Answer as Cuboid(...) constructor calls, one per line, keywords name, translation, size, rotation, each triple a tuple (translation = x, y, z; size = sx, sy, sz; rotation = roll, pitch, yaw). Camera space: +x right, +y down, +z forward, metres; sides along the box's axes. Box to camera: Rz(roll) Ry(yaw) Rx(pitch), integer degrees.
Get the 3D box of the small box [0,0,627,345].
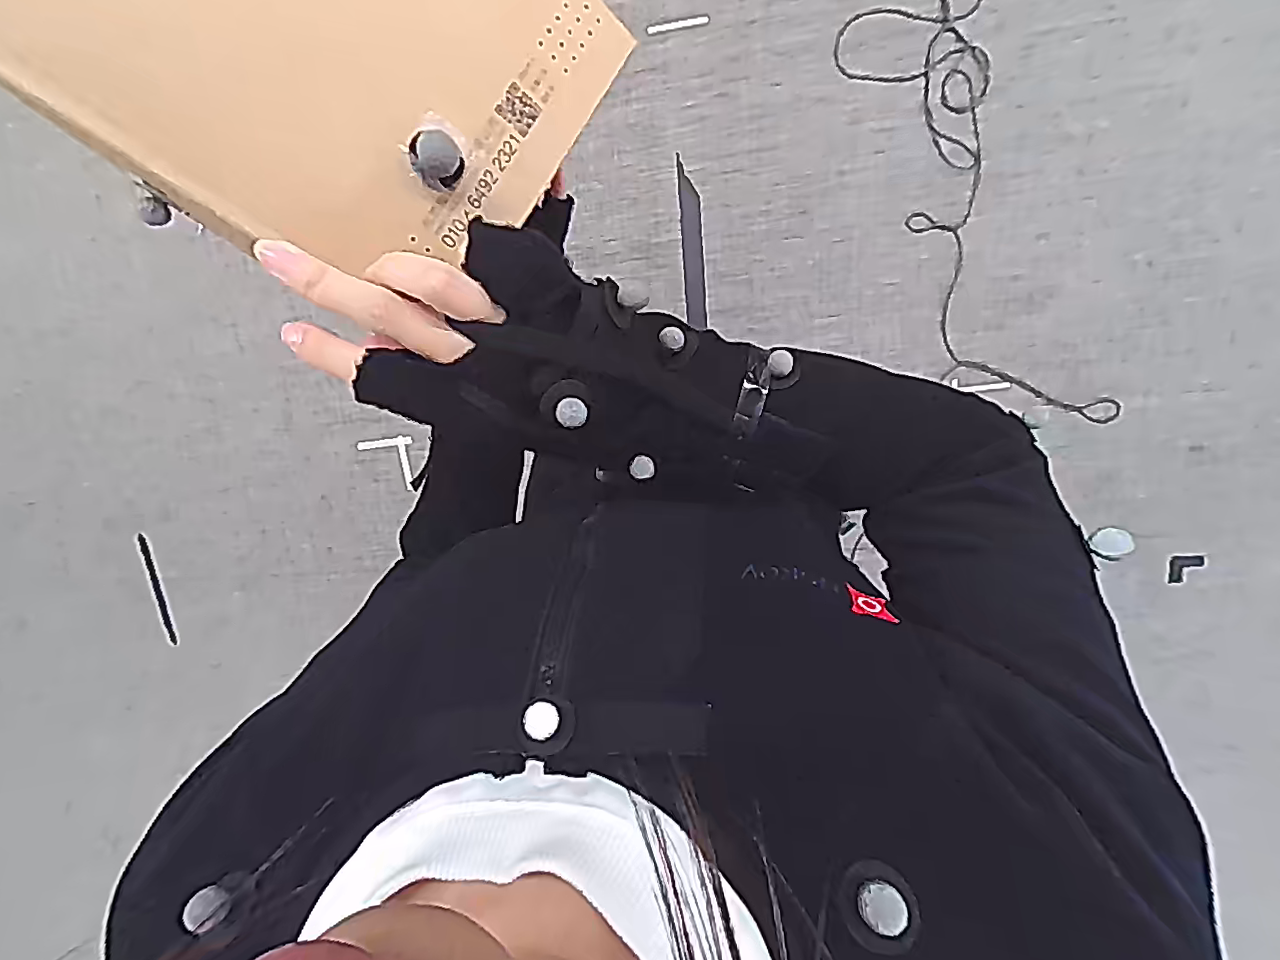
Cuboid(name="small box", translation=(-0.138, -0.186, 0.283), size=(0.176, 0.179, 0.168), rotation=(32, 88, -29))
